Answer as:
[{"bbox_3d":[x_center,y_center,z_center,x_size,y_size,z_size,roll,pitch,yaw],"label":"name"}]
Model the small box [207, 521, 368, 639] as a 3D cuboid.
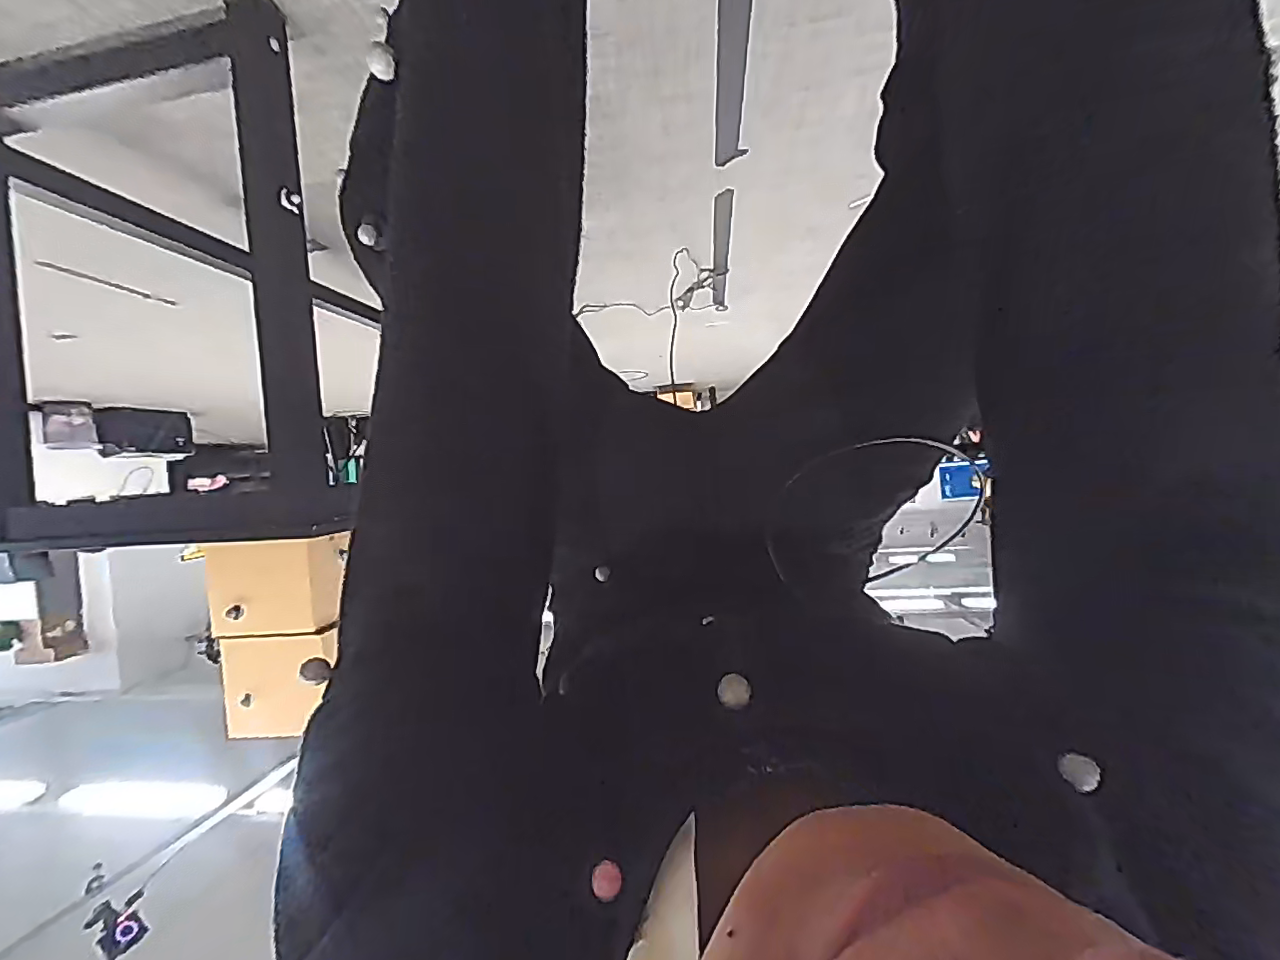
[{"bbox_3d":[-0.597,0.163,0.928,0.179,0.176,0.168,-4,-177,4],"label":"small box"}]
